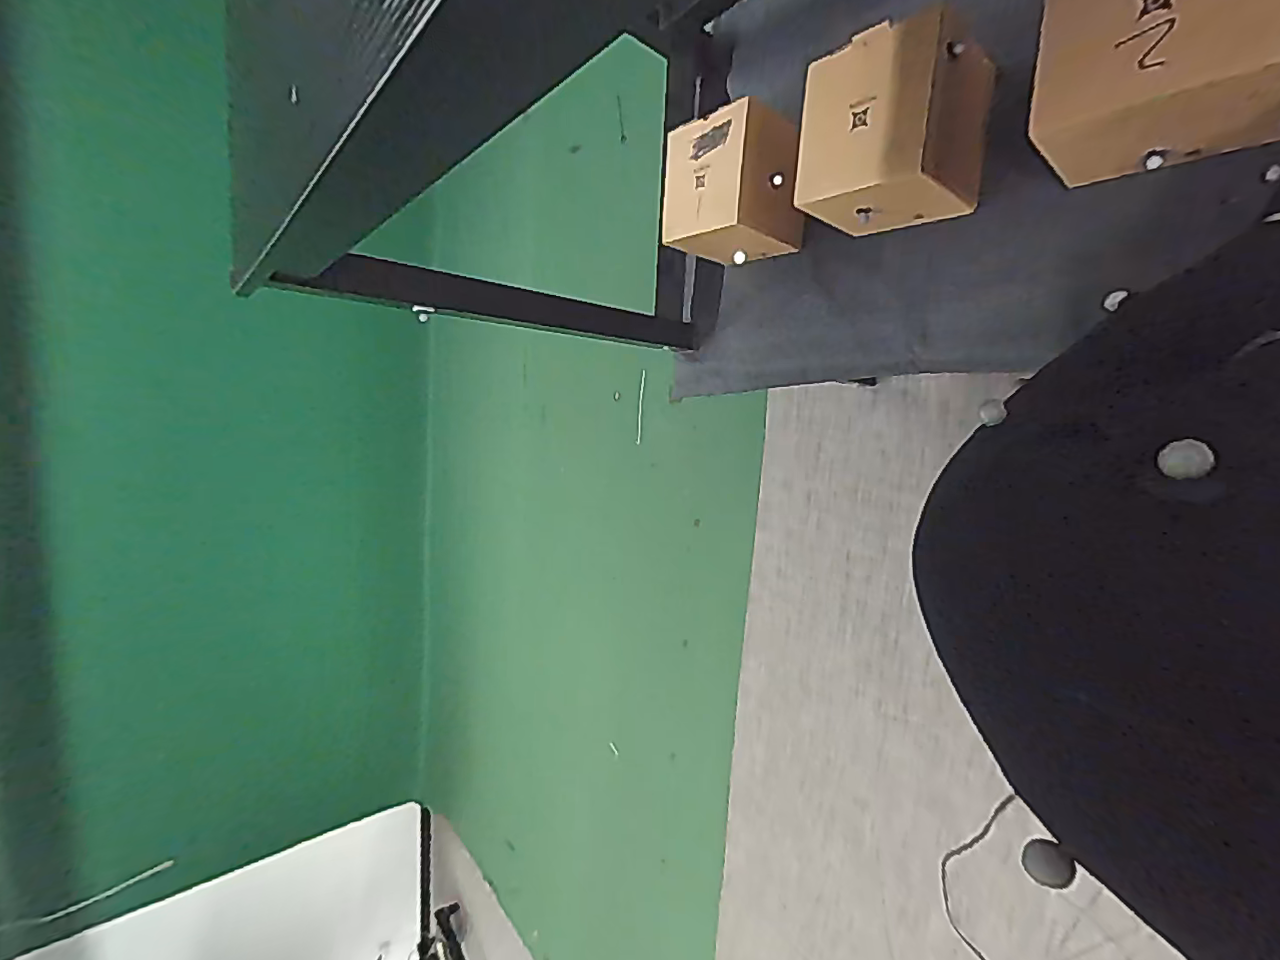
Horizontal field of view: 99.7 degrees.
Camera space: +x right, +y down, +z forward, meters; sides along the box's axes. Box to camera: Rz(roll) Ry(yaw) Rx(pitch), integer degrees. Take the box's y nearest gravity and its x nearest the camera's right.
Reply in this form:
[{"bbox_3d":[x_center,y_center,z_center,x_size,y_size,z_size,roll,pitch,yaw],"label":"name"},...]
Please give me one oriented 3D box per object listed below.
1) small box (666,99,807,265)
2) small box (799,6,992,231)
[{"bbox_3d":[0.165,-0.473,0.889,0.168,0.176,0.179,13,102,49],"label":"small box"},{"bbox_3d":[0.331,-0.440,0.701,0.168,0.176,0.179,12,101,48],"label":"small box"}]
